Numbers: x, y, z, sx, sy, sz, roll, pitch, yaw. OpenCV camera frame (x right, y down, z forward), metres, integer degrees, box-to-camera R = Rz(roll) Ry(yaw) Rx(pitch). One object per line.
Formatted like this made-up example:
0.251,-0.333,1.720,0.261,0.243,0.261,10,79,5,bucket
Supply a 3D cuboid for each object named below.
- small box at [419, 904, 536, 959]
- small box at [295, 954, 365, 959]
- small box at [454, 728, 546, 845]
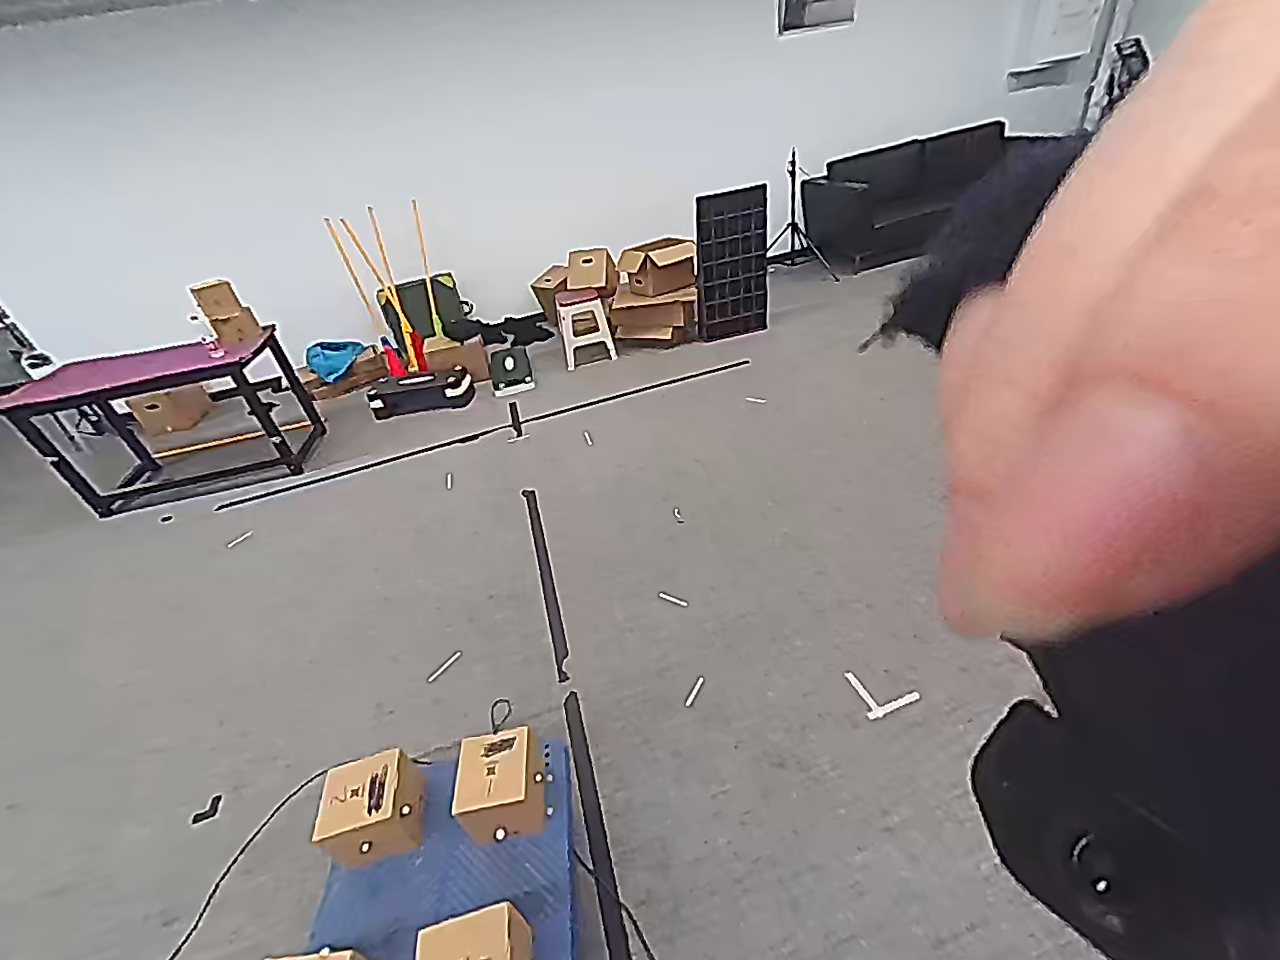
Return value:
-0.297,0.936,1.000,0.179,0.176,0.168,-15,35,-6,small box
-0.597,1.003,0.985,0.179,0.176,0.168,-8,35,1,small box
-0.325,0.732,1.294,0.168,0.176,0.179,-11,36,-1,small box
